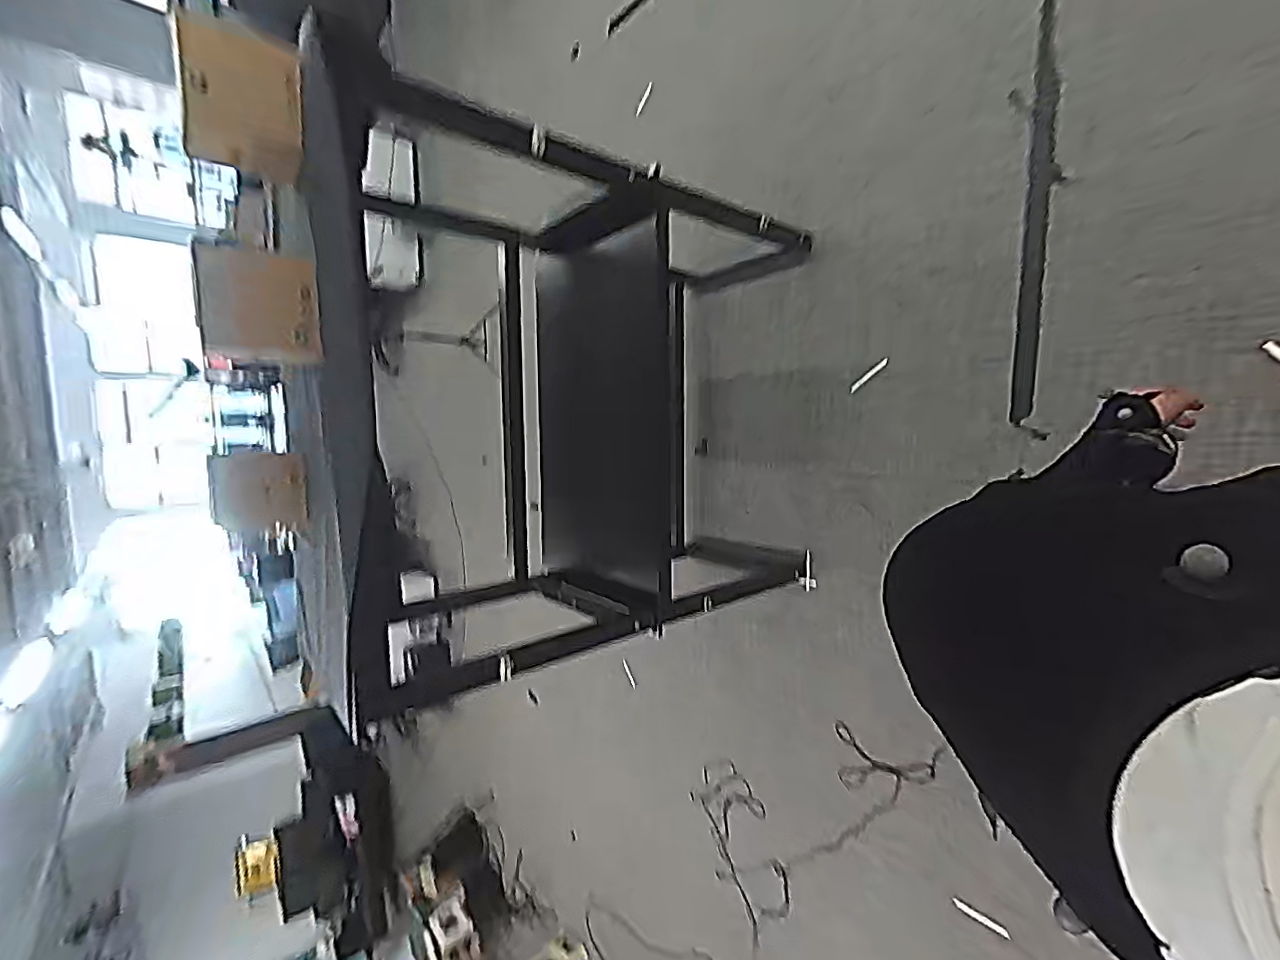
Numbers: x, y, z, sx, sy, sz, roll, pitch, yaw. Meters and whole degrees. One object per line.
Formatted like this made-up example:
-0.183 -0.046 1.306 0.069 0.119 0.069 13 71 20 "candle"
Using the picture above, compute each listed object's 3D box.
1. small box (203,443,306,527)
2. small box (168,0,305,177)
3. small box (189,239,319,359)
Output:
-0.856 0.003 1.208 0.179 0.176 0.168 5 98 49 "small box"
-0.680 -0.645 0.920 0.179 0.176 0.168 7 101 50 "small box"
-0.671 -0.306 0.950 0.179 0.176 0.168 8 101 52 "small box"
